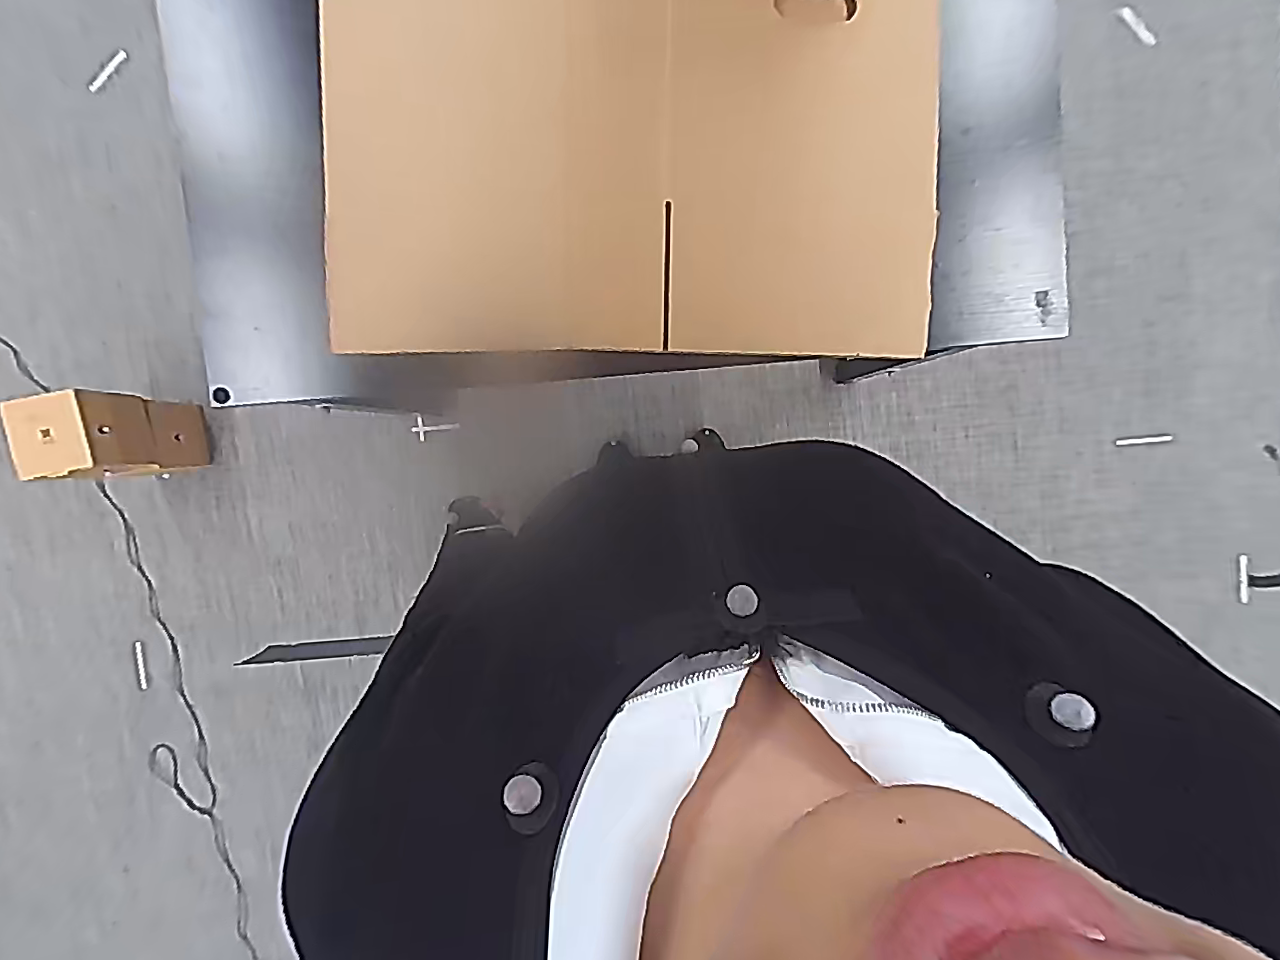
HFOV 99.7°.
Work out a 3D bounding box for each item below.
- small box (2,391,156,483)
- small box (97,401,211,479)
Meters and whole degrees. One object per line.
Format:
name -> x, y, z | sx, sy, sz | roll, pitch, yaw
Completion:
small box -> -1.274, -0.098, 1.245 | 0.168, 0.176, 0.179 | -12, 93, 0
small box -> -1.272, -0.103, 1.407 | 0.168, 0.176, 0.179 | -9, 94, 1
